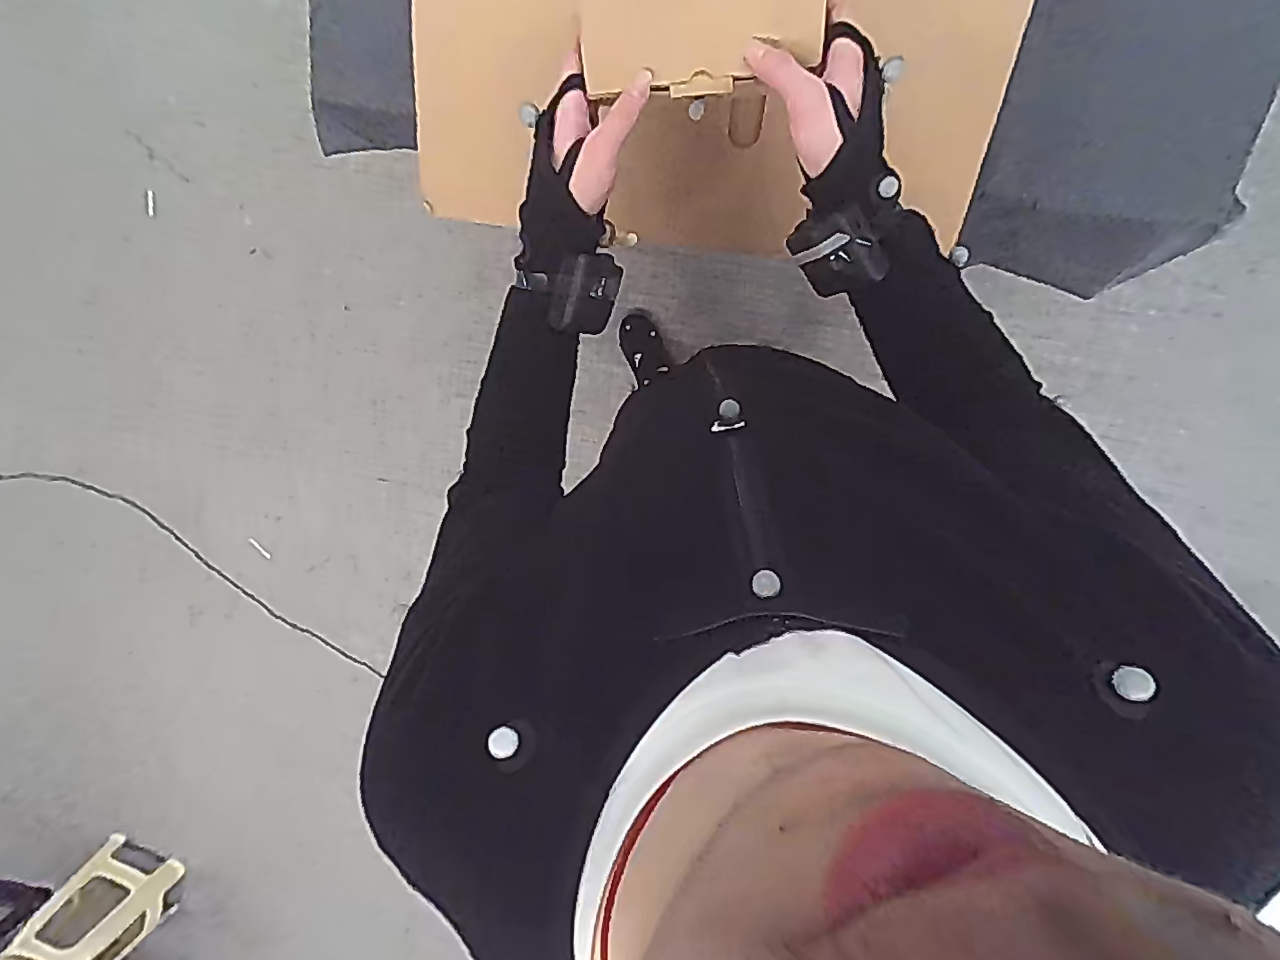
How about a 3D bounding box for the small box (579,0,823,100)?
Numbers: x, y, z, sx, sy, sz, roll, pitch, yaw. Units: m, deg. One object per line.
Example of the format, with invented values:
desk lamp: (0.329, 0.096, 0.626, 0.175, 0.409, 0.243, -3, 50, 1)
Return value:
small box: (0.041, -0.402, 0.407, 0.168, 0.176, 0.179, -4, 121, 7)
